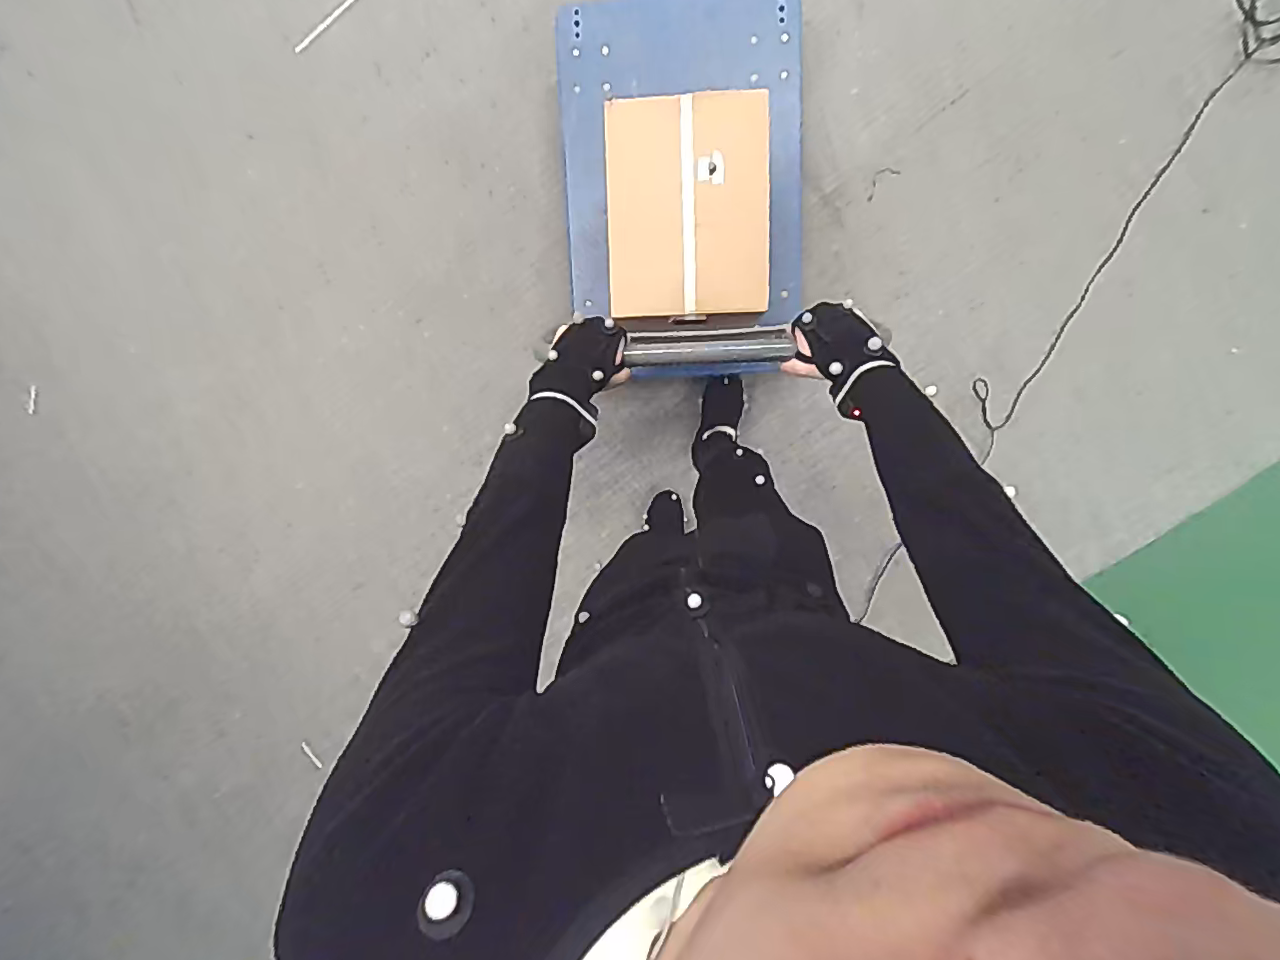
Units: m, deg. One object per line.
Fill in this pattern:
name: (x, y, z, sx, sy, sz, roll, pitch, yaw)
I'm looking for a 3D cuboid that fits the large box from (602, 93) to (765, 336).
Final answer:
large box: (0.097, -0.553, 1.208, 0.320, 0.320, 0.408, -1, 97, 3)
